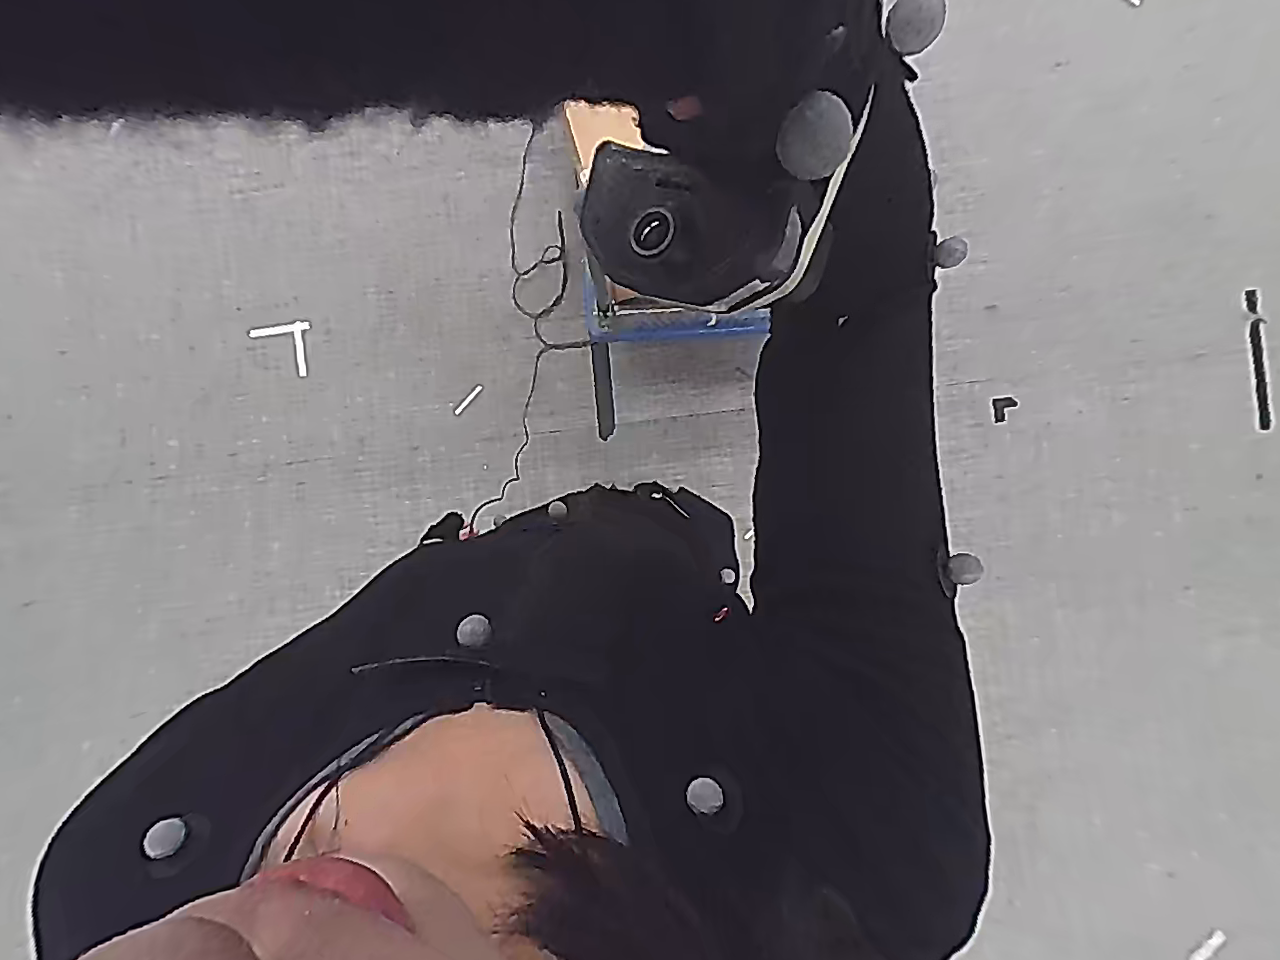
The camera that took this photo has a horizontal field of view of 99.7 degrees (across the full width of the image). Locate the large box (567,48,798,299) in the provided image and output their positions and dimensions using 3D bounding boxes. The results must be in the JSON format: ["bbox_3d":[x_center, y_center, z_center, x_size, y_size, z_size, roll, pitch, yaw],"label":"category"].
[{"bbox_3d":[0.082,-0.661,1.226,0.408,0.320,0.320,-17,89,-1],"label":"large box"}]
